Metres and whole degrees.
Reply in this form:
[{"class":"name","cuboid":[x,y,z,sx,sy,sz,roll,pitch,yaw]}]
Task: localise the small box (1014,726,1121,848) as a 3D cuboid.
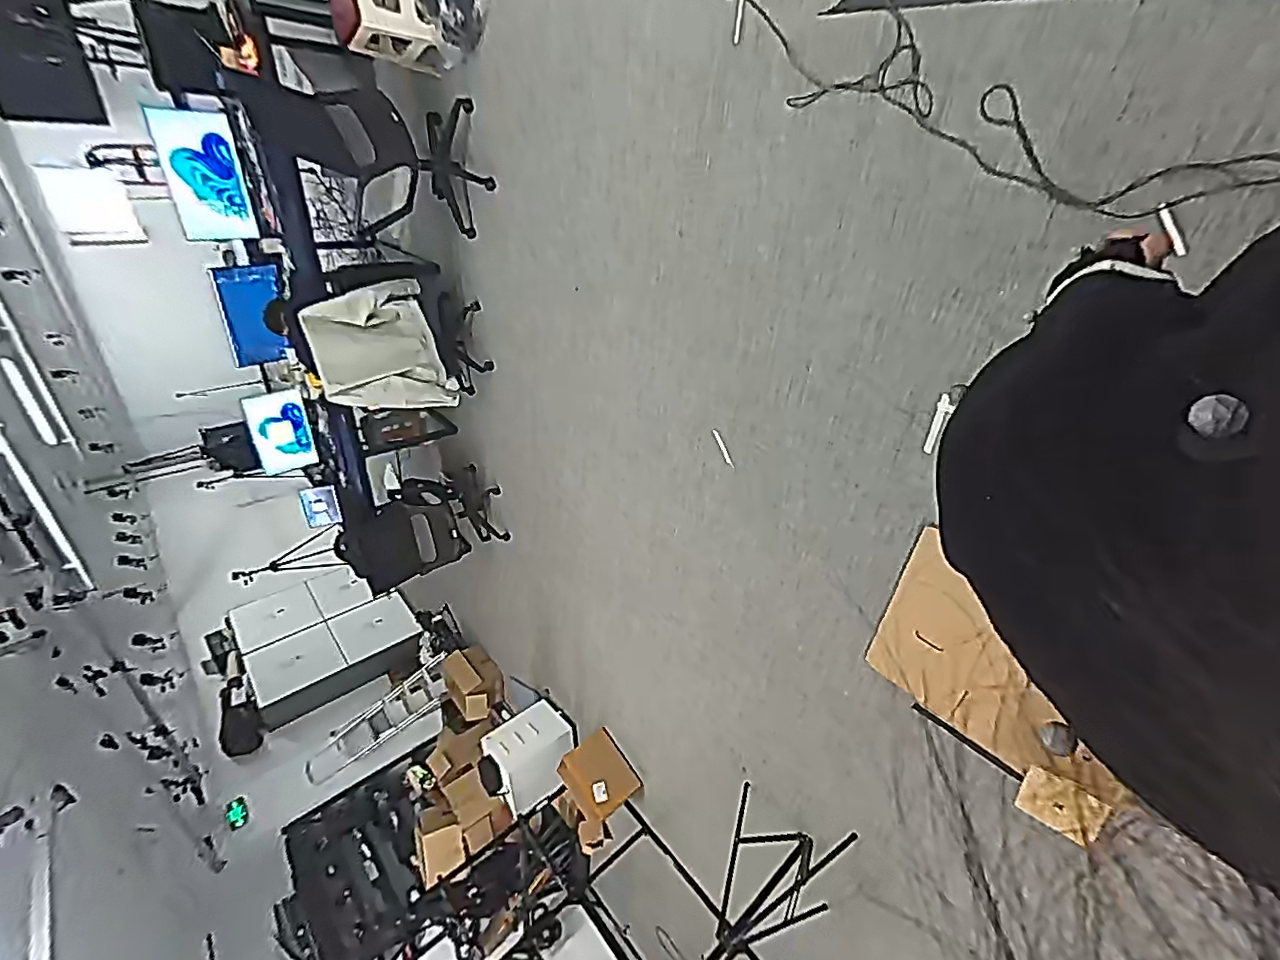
[{"class":"small box","cuboid":[1.112,0.790,1.405,0.168,0.176,0.179,23,125,42]}]
